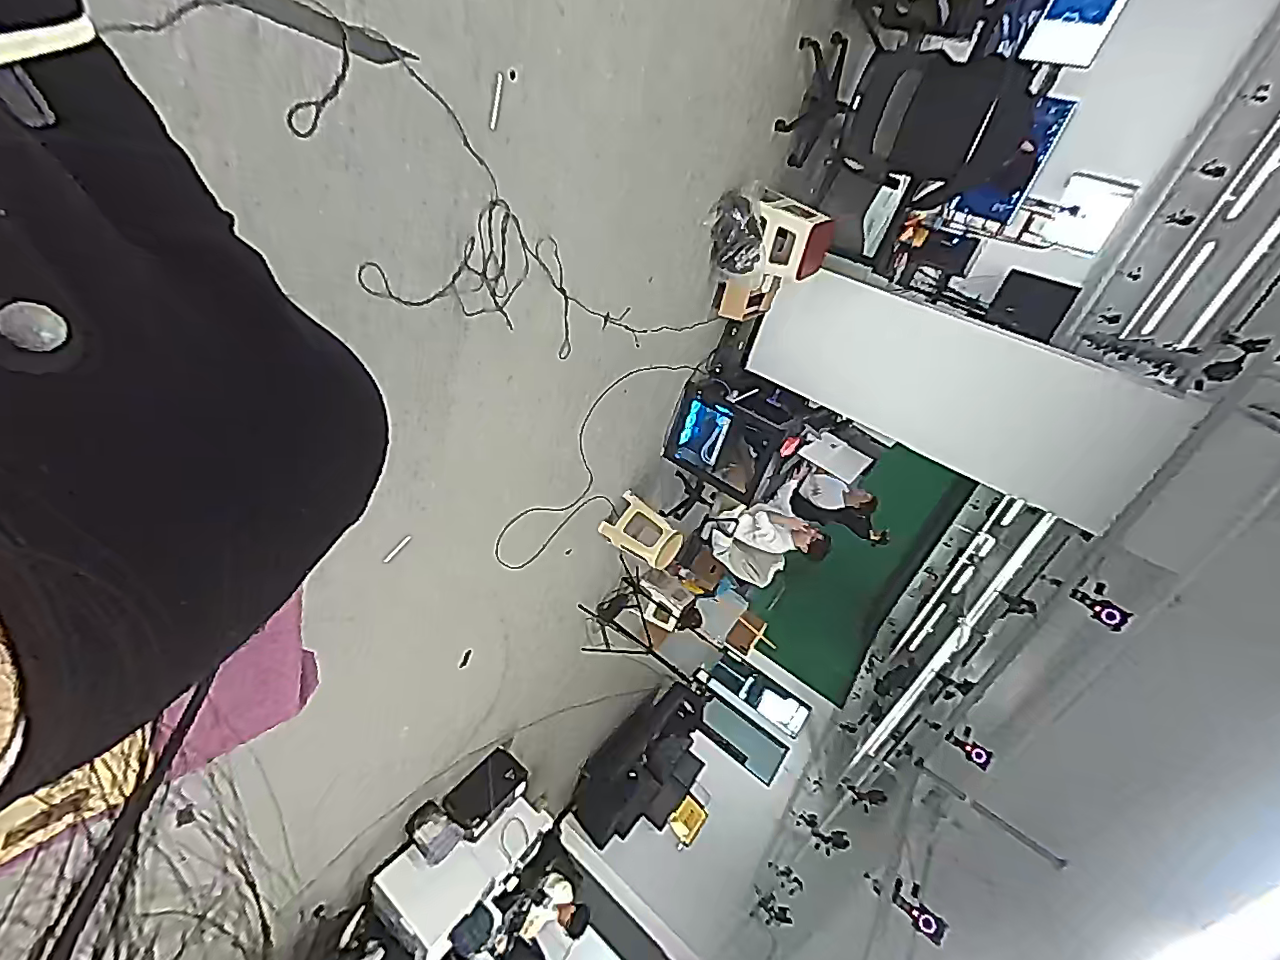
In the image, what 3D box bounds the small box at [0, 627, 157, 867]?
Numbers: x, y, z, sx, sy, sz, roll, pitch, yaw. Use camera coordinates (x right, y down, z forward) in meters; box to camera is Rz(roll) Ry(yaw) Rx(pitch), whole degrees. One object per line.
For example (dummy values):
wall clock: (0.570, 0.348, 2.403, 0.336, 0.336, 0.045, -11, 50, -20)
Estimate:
small box: (-0.734, 0.318, 0.664, 0.168, 0.176, 0.179, -21, 136, -54)
